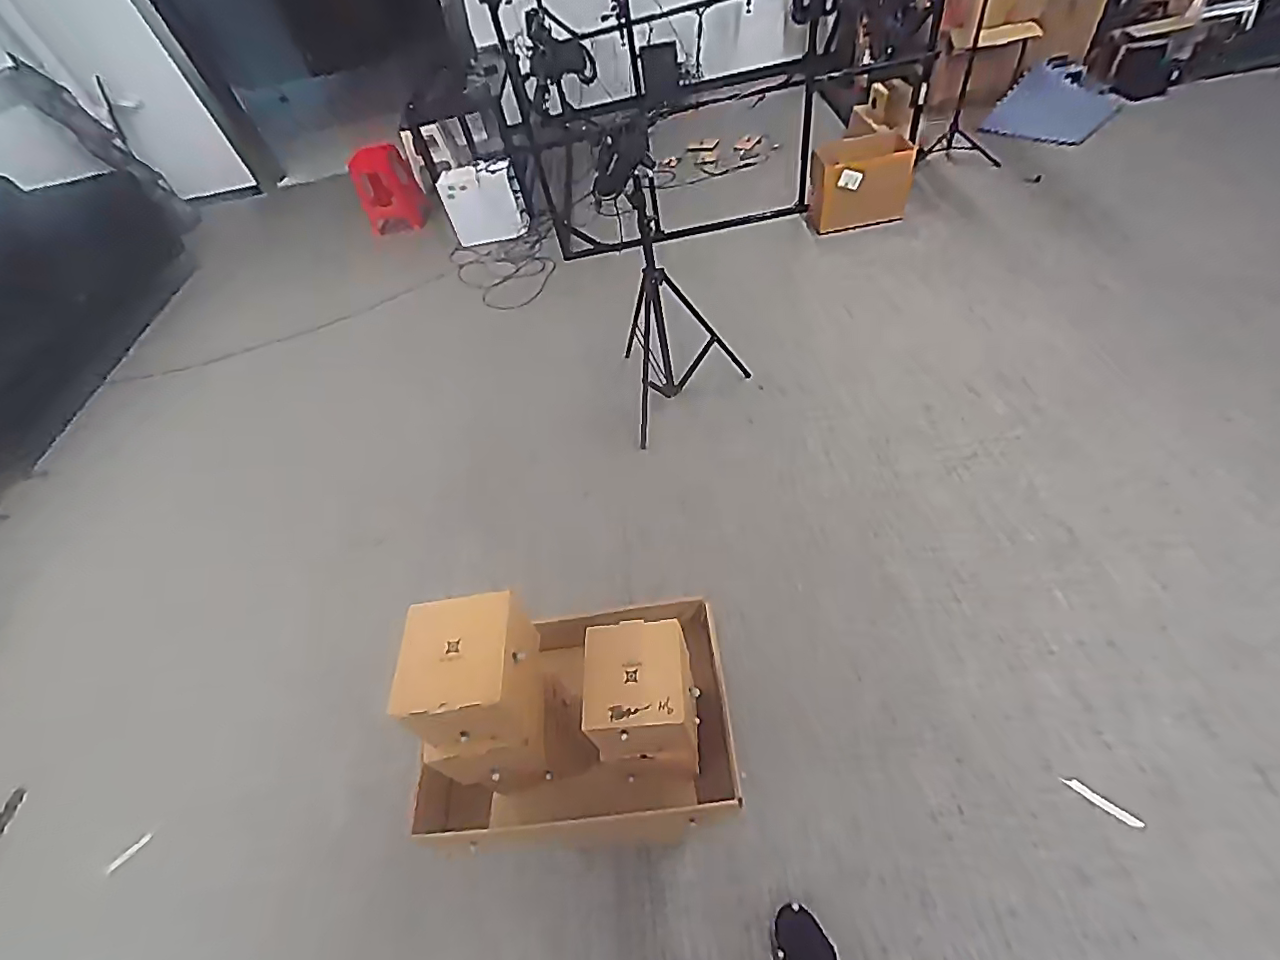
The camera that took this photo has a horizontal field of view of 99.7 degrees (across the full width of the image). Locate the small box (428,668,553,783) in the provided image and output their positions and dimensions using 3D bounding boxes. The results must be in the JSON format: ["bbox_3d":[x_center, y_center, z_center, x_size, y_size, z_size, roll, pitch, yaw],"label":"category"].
[{"bbox_3d":[-0.260,0.422,0.975,0.168,0.176,0.179,-12,50,1],"label":"small box"}]

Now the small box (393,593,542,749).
[{"bbox_3d":[-0.259,0.305,0.858,0.168,0.176,0.179,-9,50,3],"label":"small box"}]

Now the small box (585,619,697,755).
[{"bbox_3d":[0.007,0.367,0.952,0.168,0.176,0.179,-7,49,8],"label":"small box"}]
